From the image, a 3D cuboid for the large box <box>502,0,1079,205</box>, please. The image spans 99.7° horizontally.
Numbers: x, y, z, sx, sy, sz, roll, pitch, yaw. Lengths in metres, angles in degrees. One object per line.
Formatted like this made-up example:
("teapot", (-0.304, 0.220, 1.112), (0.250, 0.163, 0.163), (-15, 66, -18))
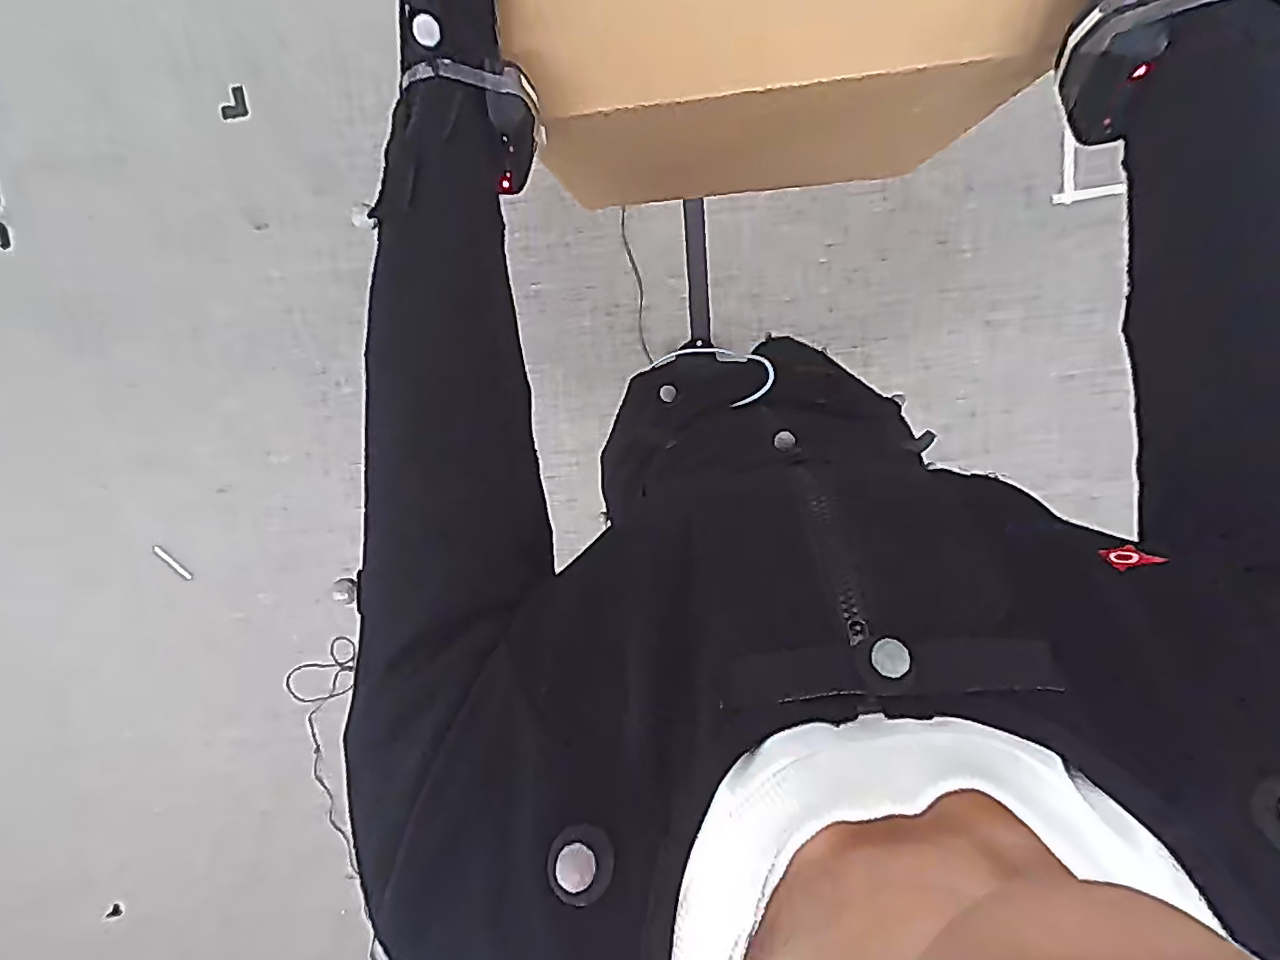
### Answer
("large box", (0.098, -0.476, 0.495), (0.408, 0.320, 0.320), (-4, 105, 6))
